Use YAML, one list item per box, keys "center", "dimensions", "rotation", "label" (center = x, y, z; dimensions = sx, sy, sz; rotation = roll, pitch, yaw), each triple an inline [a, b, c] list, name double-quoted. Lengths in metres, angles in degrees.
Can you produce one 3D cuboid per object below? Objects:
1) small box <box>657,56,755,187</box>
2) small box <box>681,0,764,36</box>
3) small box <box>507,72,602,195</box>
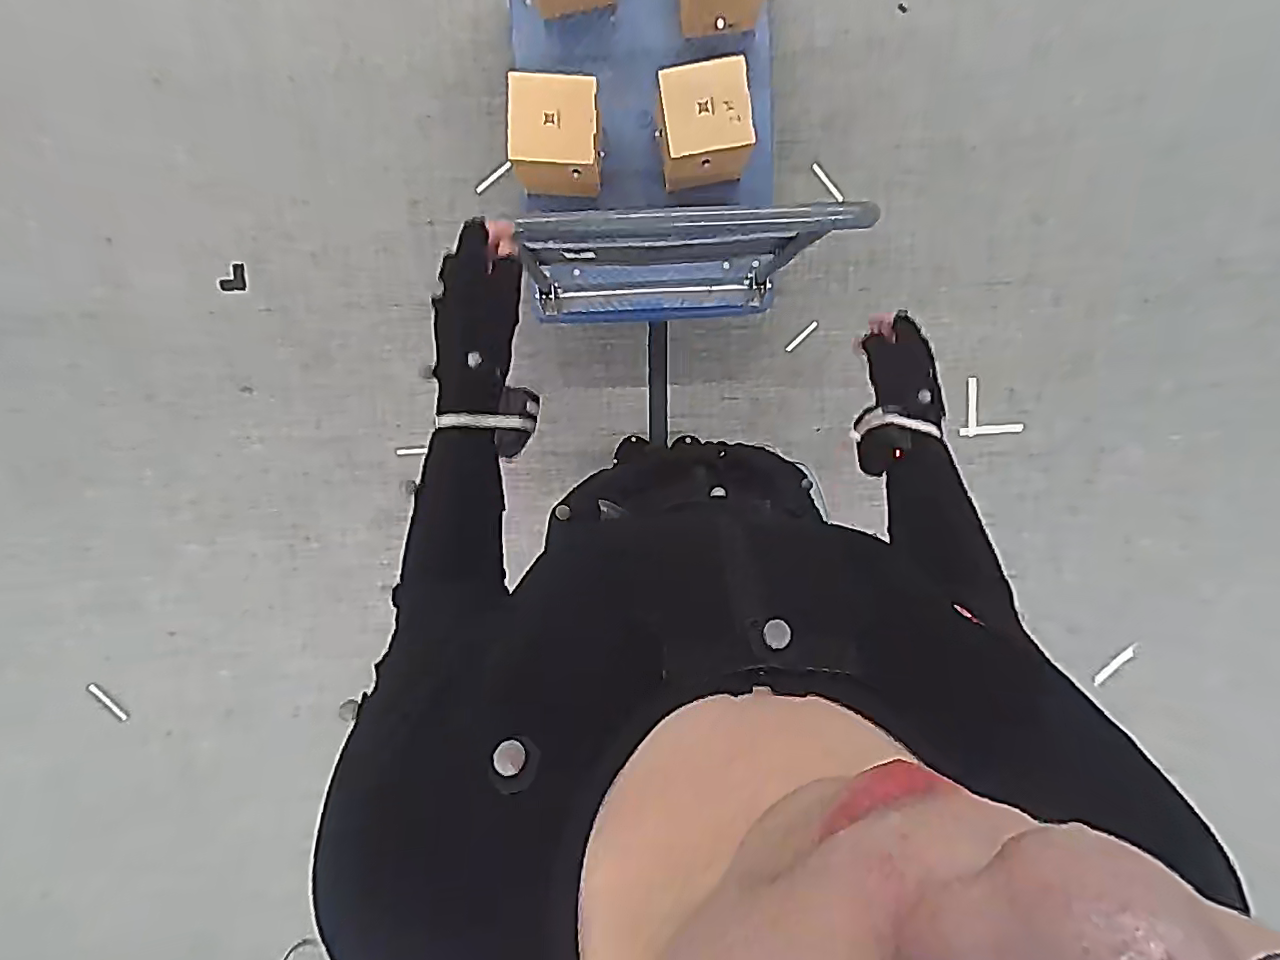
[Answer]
- center: [0.133, -0.745, 1.145]
  dimensions: [0.179, 0.176, 0.168]
  rotation: [-9, 98, 1]
  label: "small box"
- center: [0.168, -1.062, 1.102]
  dimensions: [0.168, 0.176, 0.179]
  rotation: [-6, 99, 1]
  label: "small box"
- center: [-0.175, -0.724, 1.148]
  dimensions: [0.179, 0.176, 0.168]
  rotation: [2, 97, -2]
  label: "small box"
